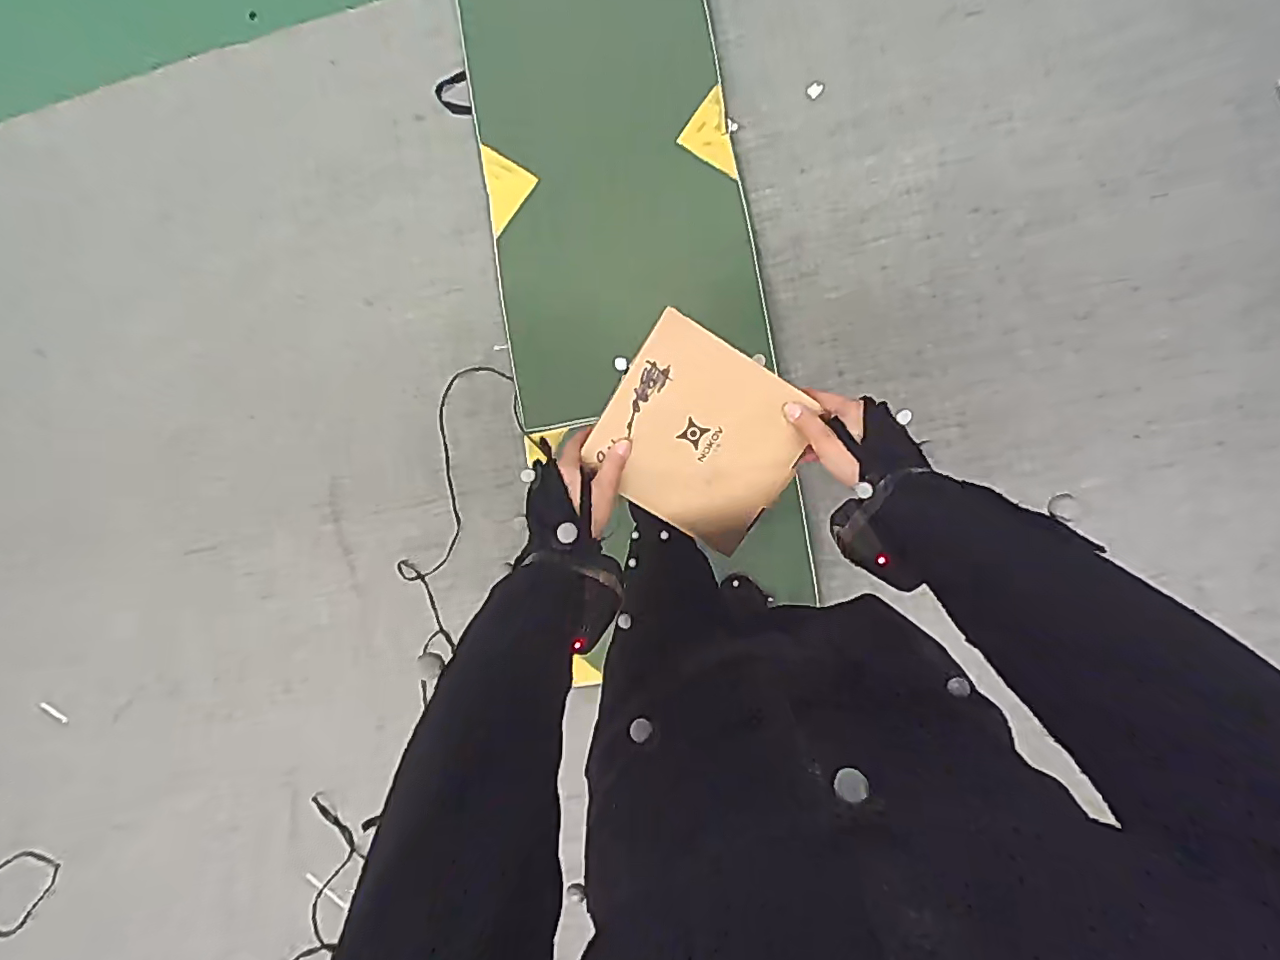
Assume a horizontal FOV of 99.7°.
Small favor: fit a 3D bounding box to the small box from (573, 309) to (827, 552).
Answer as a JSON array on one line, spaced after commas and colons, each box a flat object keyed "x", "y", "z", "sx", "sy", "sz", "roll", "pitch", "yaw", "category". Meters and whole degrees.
[{"x": 0.054, "y": -0.060, "z": 0.566, "sx": 0.179, "sy": 0.176, "sz": 0.168, "roll": 32, "pitch": 103, "yaw": -7, "category": "small box"}]
